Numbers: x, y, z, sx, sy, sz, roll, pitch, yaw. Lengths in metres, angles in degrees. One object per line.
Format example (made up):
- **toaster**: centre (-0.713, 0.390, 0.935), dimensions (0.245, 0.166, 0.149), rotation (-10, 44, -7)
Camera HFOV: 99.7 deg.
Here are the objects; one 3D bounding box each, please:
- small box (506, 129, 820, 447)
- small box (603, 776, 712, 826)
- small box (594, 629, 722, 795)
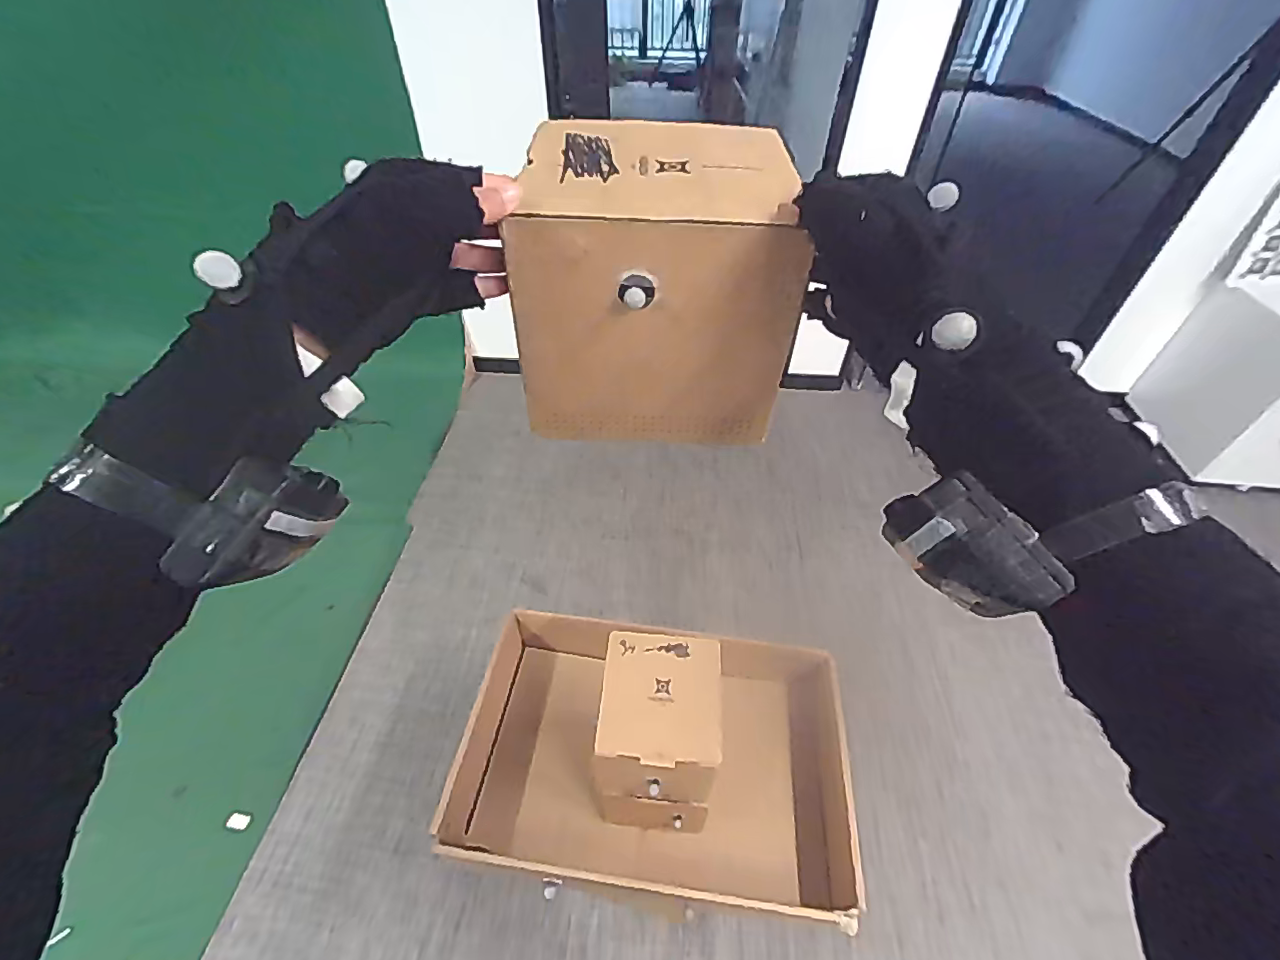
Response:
- **small box**: centre (0.013, -0.140, 0.405), dimensions (0.179, 0.176, 0.168), rotation (3, 48, -1)
- **small box**: centre (0.033, 0.464, 0.917), dimensions (0.168, 0.176, 0.179), rotation (5, 44, 3)
- **small box**: centre (0.030, 0.347, 0.802), dimensions (0.168, 0.176, 0.179), rotation (6, 47, 3)
